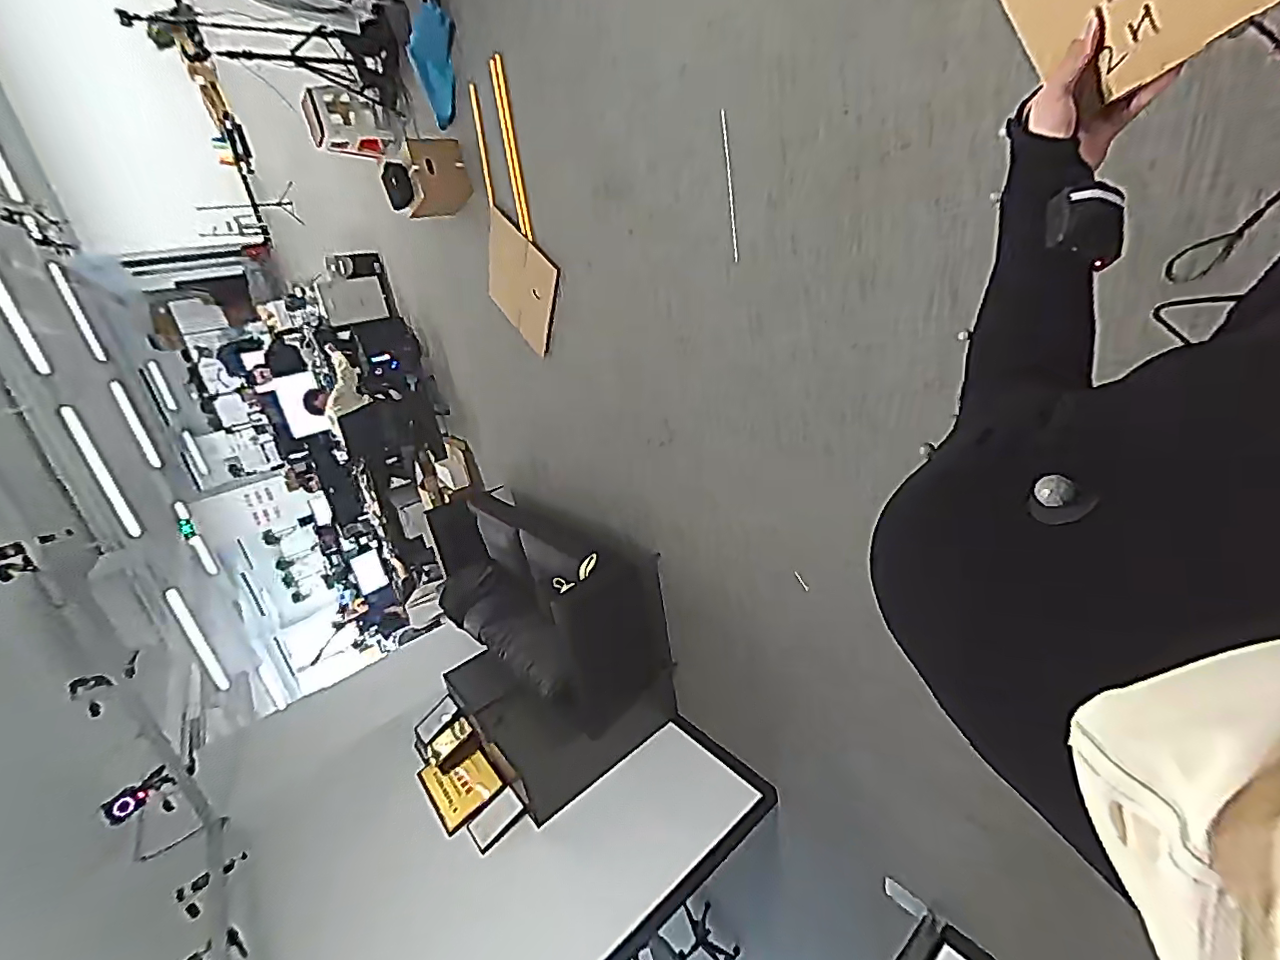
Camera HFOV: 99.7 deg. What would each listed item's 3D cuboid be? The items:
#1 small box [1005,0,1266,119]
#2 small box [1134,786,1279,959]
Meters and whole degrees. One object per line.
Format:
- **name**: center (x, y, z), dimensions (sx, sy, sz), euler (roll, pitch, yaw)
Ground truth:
- **small box**: center (0.455, -0.469, 0.460), dimensions (0.179, 0.176, 0.168), euler (54, 166, -9)
- **small box**: center (1.008, 0.678, 0.931), dimensions (0.168, 0.176, 0.179), euler (29, 134, 45)
